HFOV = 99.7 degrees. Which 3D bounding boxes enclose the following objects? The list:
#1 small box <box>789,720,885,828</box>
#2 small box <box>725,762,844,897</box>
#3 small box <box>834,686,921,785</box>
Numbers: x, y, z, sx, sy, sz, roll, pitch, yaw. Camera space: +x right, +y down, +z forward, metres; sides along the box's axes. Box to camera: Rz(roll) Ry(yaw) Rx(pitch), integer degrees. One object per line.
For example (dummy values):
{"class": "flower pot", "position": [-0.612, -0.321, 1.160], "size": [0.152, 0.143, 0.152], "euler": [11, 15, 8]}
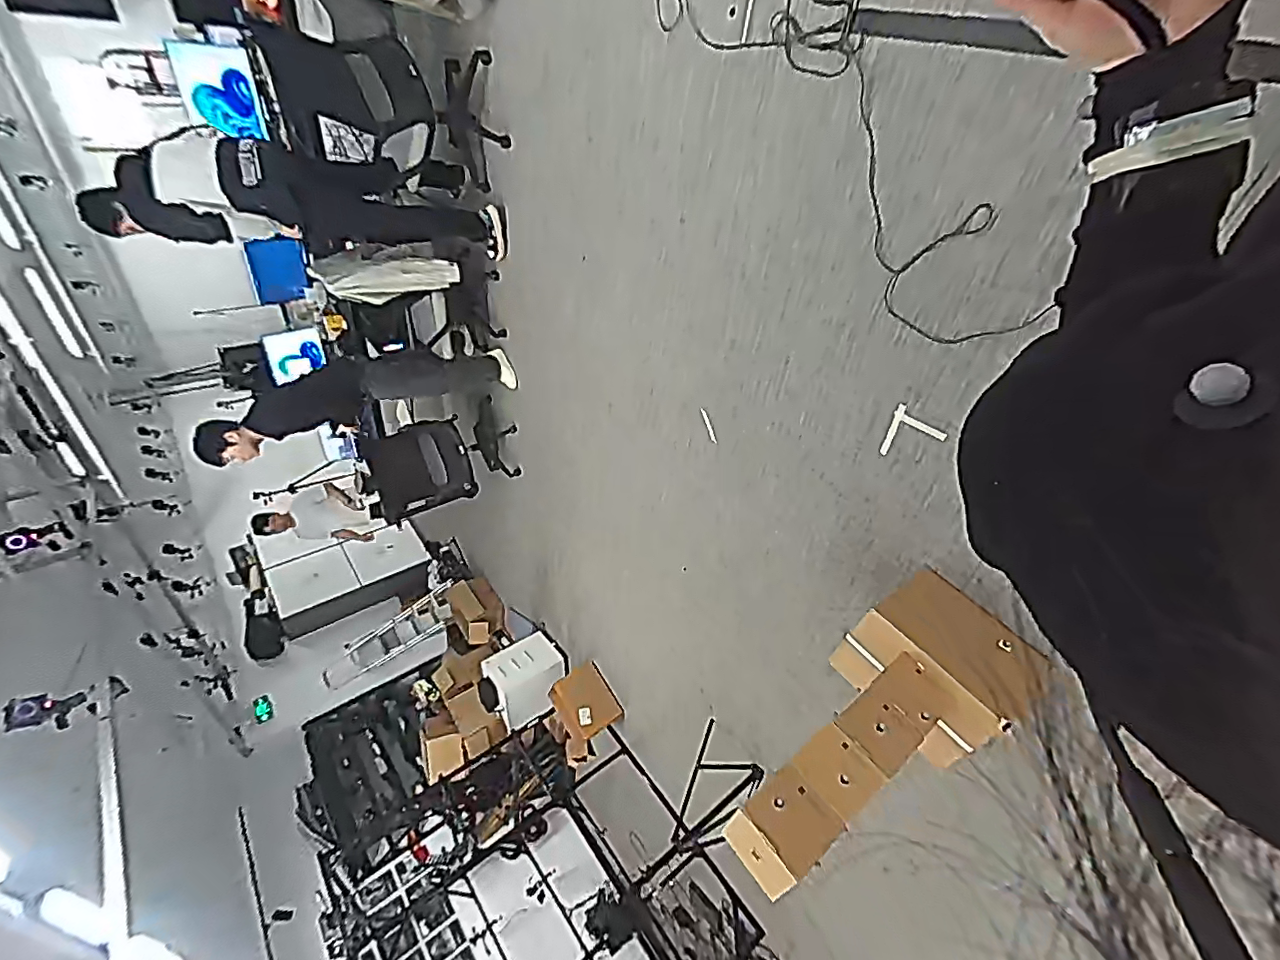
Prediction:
{"class": "small box", "position": [0.446, 0.707, 1.278], "size": [0.168, 0.176, 0.179], "euler": [43, 141, 32]}
{"class": "small box", "position": [0.320, 0.764, 1.194], "size": [0.168, 0.176, 0.179], "euler": [44, 143, 33]}
{"class": "small box", "position": [0.574, 0.657, 1.366], "size": [0.168, 0.176, 0.179], "euler": [45, 141, 31]}
